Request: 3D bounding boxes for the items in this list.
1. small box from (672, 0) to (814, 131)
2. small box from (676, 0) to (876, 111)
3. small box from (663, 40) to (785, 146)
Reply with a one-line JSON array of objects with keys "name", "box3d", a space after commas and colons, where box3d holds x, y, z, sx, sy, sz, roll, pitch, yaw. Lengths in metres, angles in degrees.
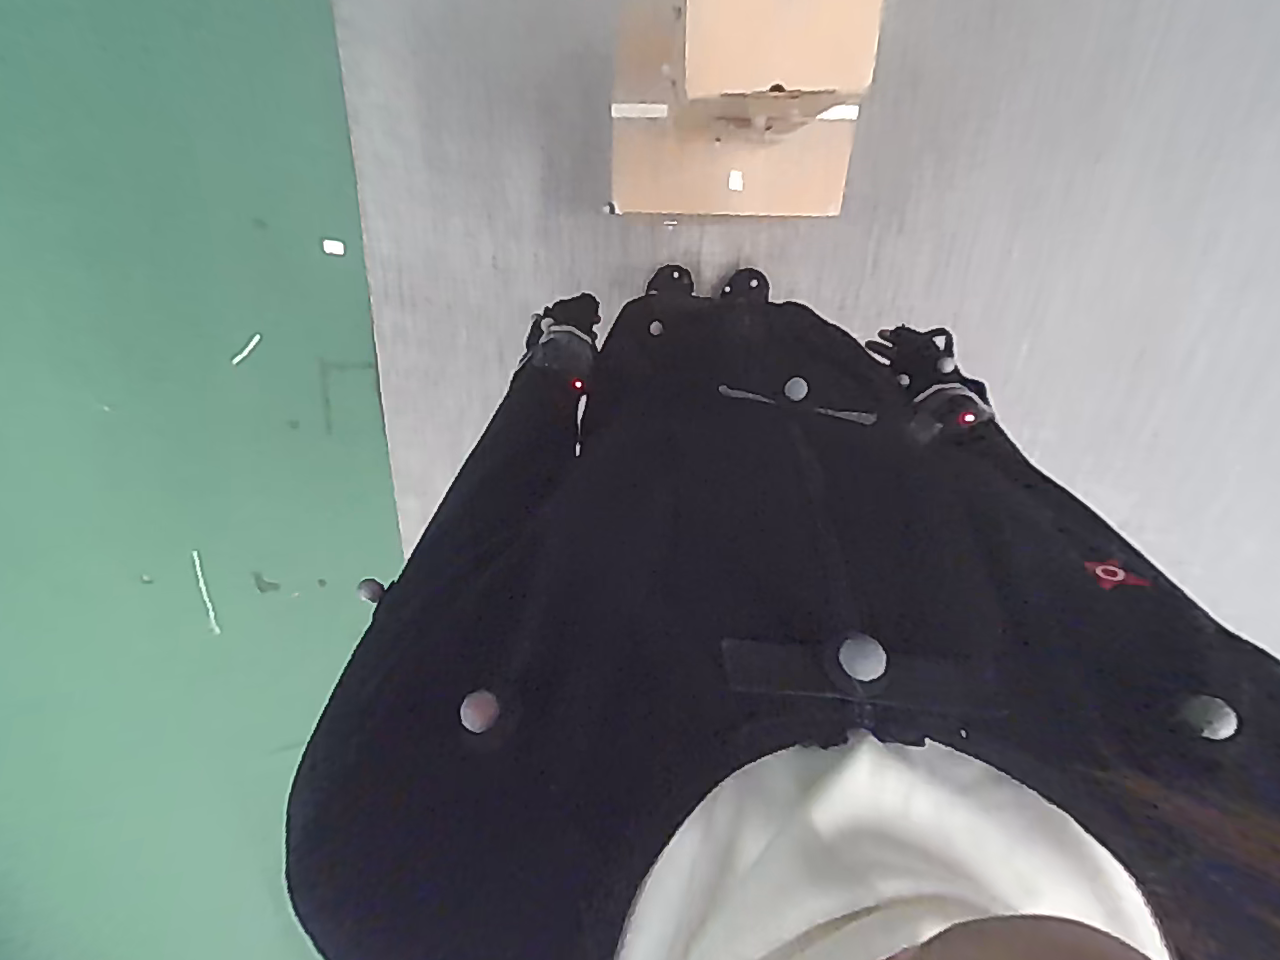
[{"name": "small box", "box3d": [0.125, -0.536, 0.661, 0.168, 0.176, 0.179, 1, 117, 1]}, {"name": "small box", "box3d": [0.121, -0.462, 0.515, 0.168, 0.176, 0.179, 0, 119, 2]}, {"name": "small box", "box3d": [0.133, -0.607, 0.803, 0.179, 0.176, 0.168, 9, 117, -1]}]
